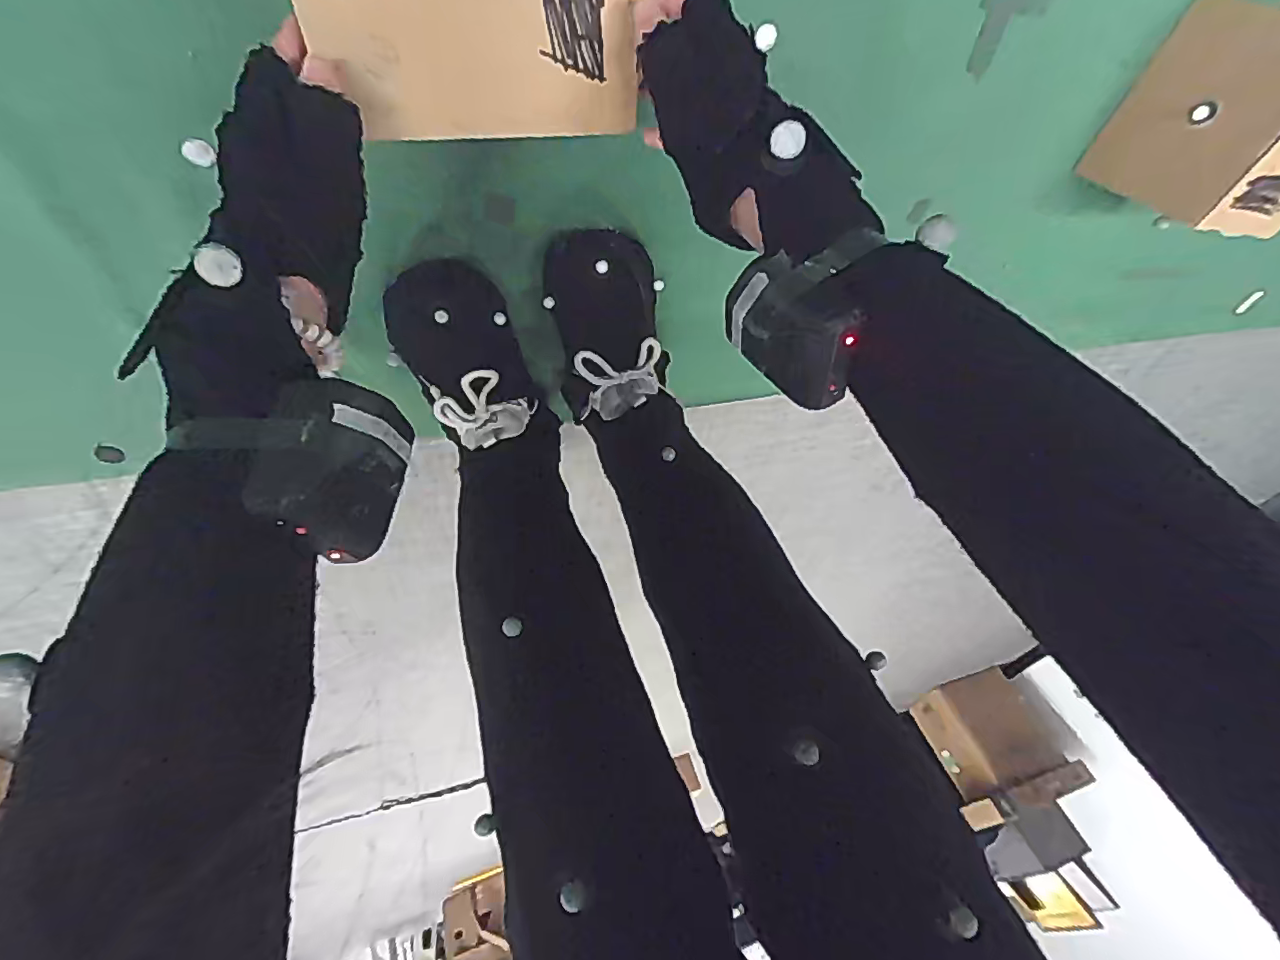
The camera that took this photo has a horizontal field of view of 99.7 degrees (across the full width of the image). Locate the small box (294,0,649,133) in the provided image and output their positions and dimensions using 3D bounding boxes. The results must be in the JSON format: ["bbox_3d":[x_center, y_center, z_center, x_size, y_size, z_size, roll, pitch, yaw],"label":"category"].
[{"bbox_3d":[-0.100,-0.314,0.299,0.179,0.176,0.168,-10,141,-14],"label":"small box"}]

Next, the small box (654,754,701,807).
[{"bbox_3d":[0.177,1.444,2.606,0.168,0.176,0.179,-11,141,-16],"label":"small box"}]
